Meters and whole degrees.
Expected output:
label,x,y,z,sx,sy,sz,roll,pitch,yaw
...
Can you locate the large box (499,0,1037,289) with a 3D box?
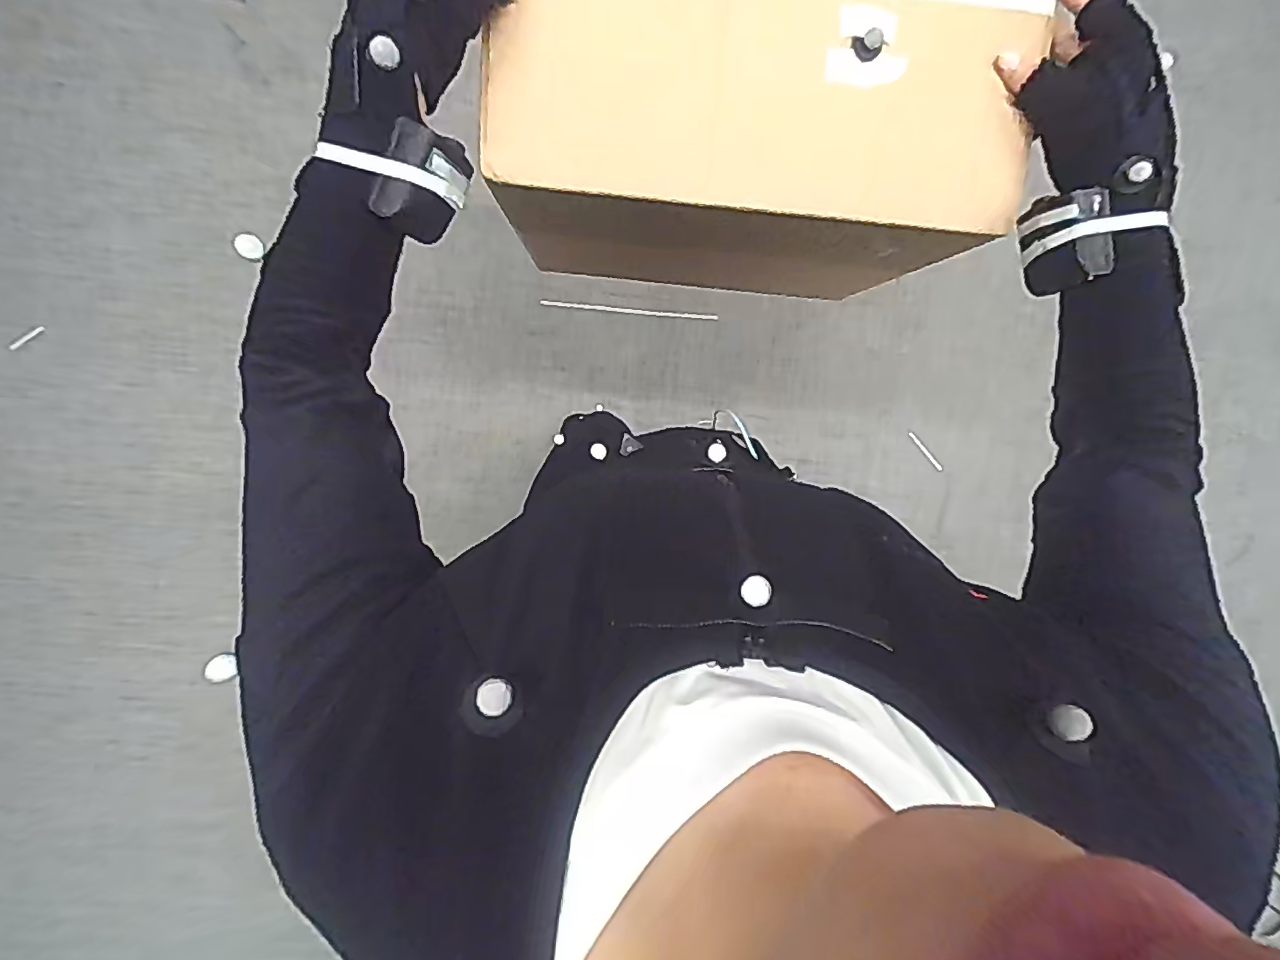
label,x,y,z,sx,sy,sz,roll,pitch,yaw
large box,0.087,-0.388,0.536,0.408,0.320,0.320,3,100,-5
